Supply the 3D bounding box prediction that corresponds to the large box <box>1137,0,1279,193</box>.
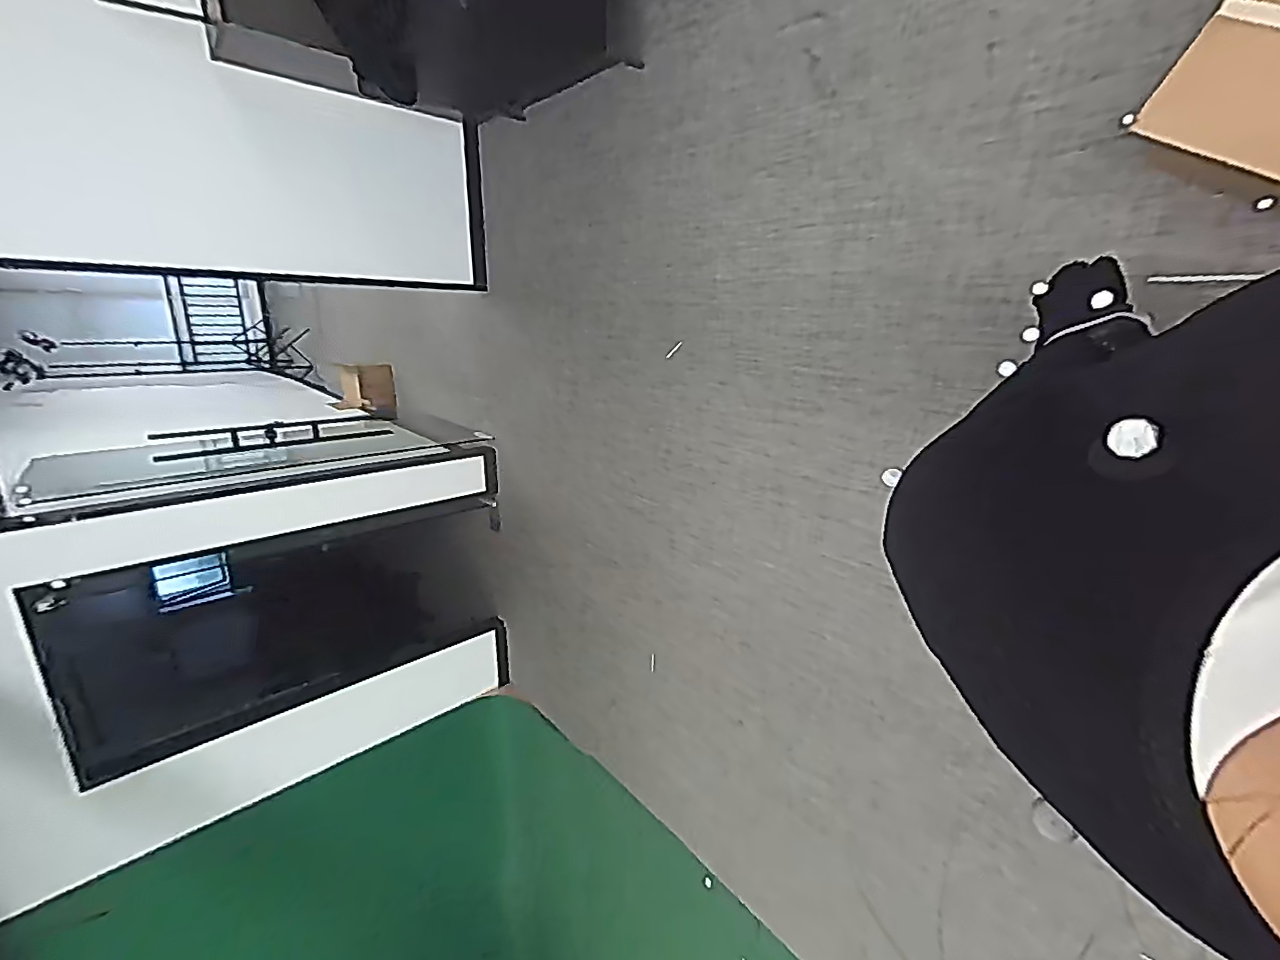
[{"bbox_3d":[1.059,-0.578,0.758,0.408,0.320,0.320,49,133,30],"label":"large box"}]
